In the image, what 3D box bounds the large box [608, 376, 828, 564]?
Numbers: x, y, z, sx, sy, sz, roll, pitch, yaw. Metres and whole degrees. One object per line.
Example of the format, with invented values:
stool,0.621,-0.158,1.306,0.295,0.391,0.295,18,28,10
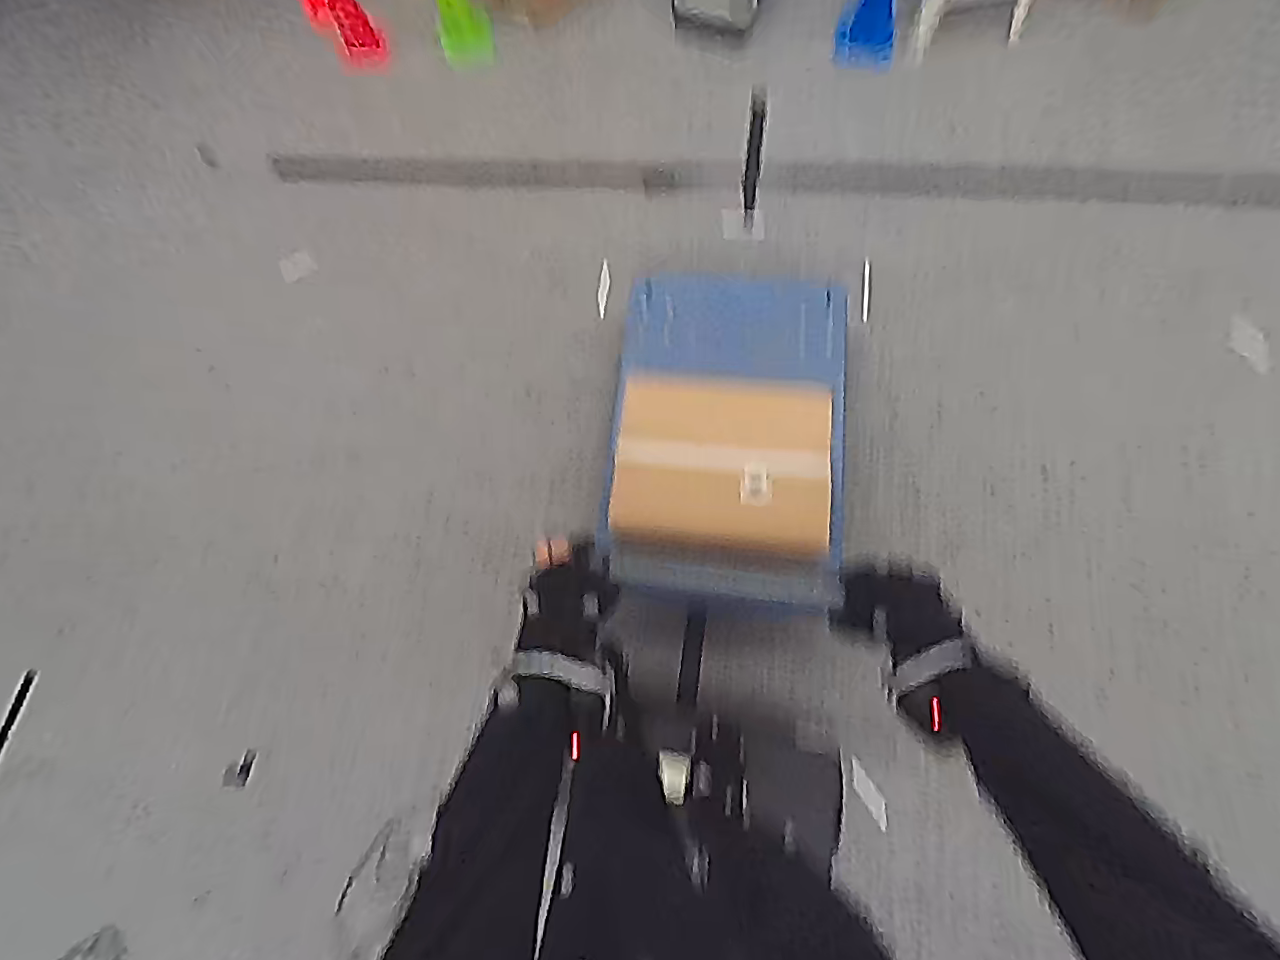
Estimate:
large box,0.158,-0.006,1.157,0.408,0.320,0.320,5,76,6
